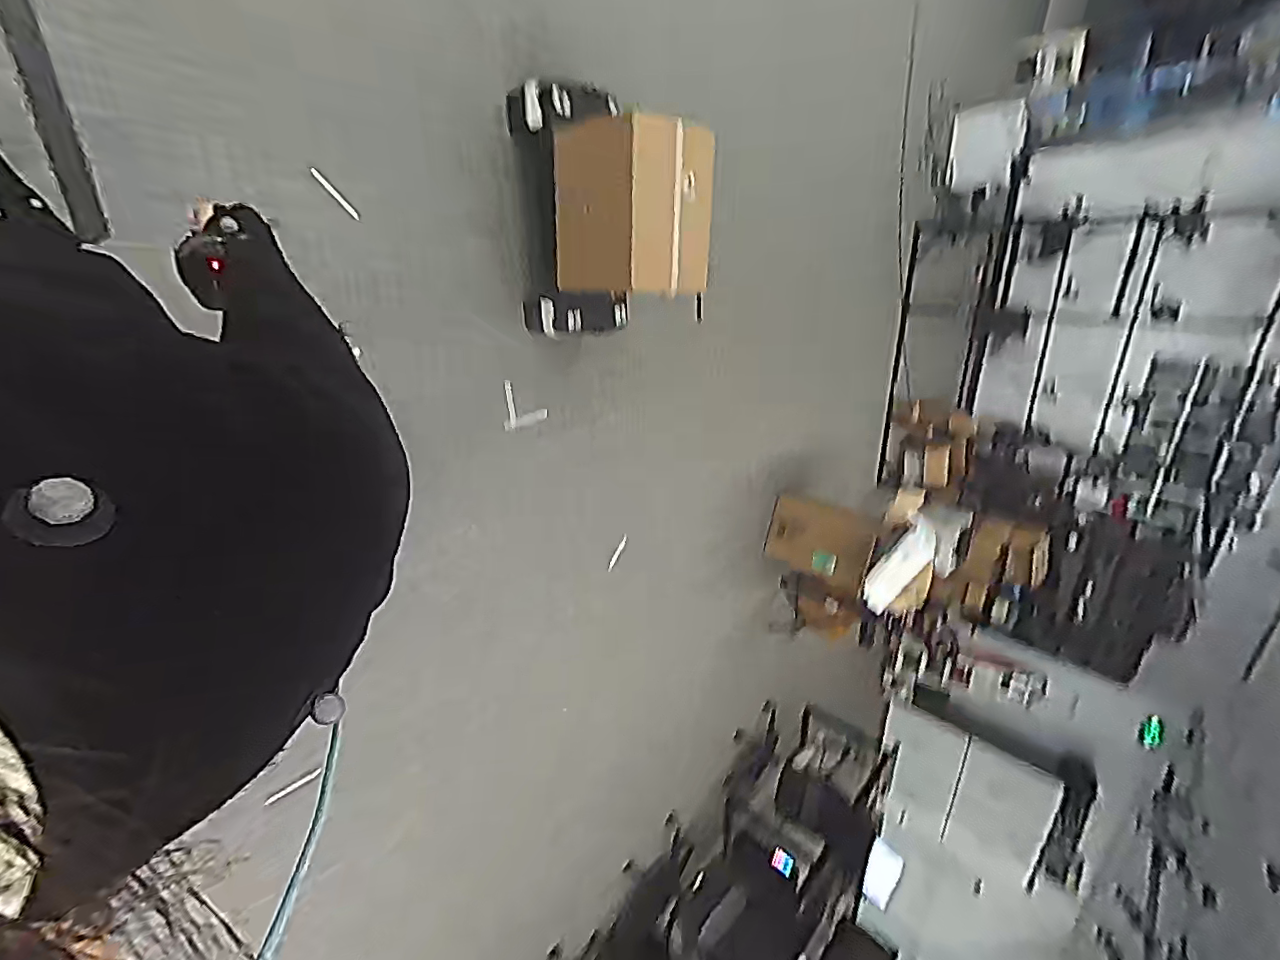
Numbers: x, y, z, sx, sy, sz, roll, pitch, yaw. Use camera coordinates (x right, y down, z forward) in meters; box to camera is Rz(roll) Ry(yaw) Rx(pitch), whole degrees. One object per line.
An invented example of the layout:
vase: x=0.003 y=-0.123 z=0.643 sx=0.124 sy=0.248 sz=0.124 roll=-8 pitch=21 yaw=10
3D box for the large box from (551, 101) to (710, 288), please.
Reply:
large box: x=-0.024 y=-0.747 z=1.493 sx=0.320 sy=0.320 sz=0.408 roll=-20 pitch=117 yaw=-43

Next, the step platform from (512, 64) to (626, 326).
step platform: x=-0.204 y=-0.820 z=1.633 sx=0.286 sy=0.204 sz=0.684 roll=-16 pitch=115 yaw=-44
